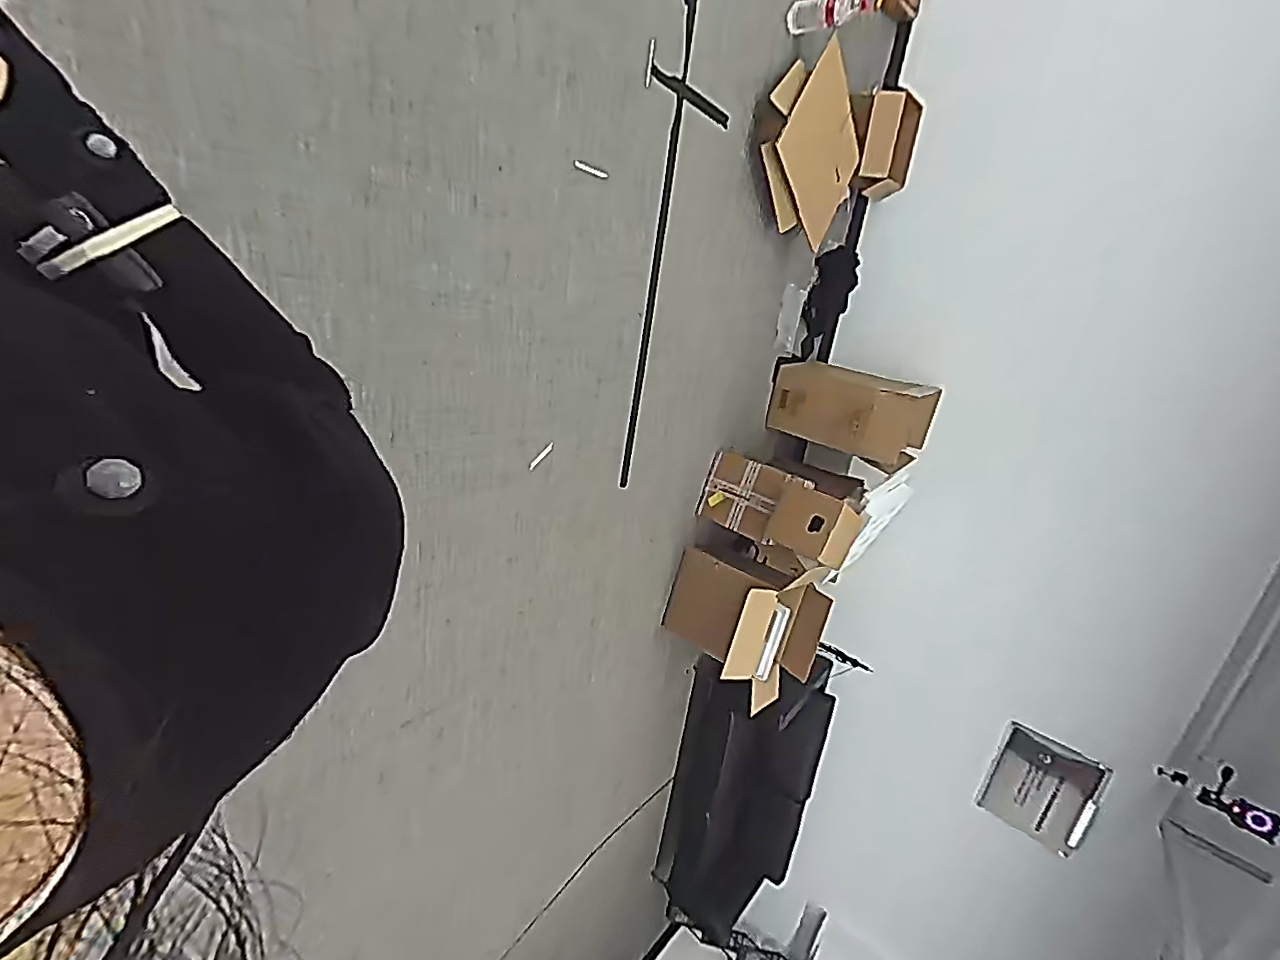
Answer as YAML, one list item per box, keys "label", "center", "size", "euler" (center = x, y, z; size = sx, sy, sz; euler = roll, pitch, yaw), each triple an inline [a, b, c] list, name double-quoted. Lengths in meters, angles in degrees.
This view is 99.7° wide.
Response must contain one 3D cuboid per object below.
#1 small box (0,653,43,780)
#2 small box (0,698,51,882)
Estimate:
- label: "small box"
  center: [-1.032, 0.385, 0.796]
  size: [0.179, 0.176, 0.168]
  euler: [-14, 117, -48]
- label: "small box"
  center: [-0.905, 0.425, 0.702]
  size: [0.168, 0.176, 0.179]
  euler: [-14, 117, -49]
